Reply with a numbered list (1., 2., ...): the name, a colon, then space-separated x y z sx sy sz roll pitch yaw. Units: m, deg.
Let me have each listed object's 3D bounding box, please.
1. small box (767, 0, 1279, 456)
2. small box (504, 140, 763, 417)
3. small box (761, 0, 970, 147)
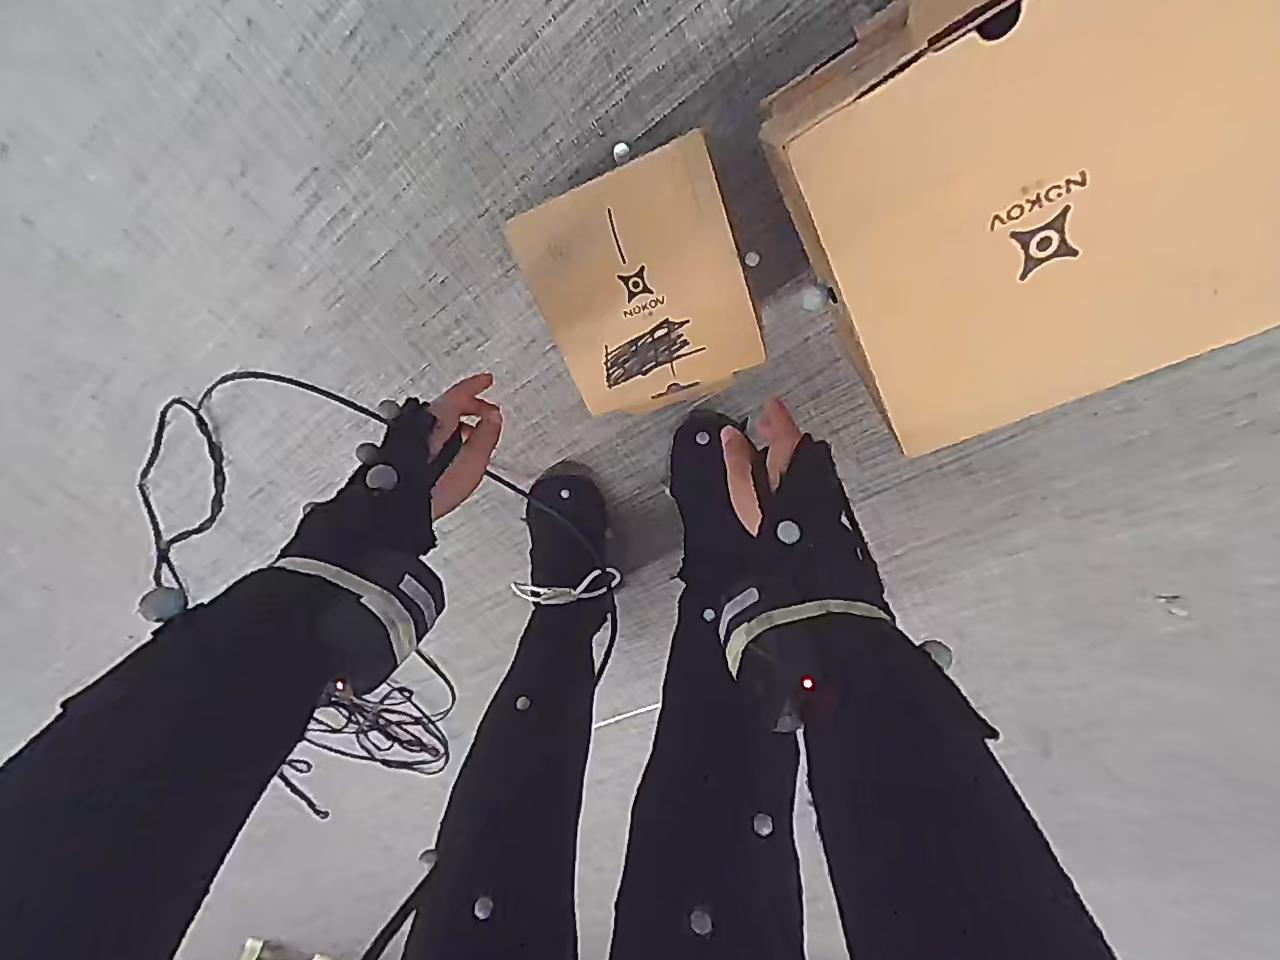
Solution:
1. small box: 0.182 -0.149 0.301 0.168 0.176 0.179 -23 116 22
2. small box: 0.010 -0.188 0.498 0.168 0.176 0.179 -15 118 17
3. small box: 0.205 -0.253 0.425 0.168 0.176 0.179 -24 116 22
